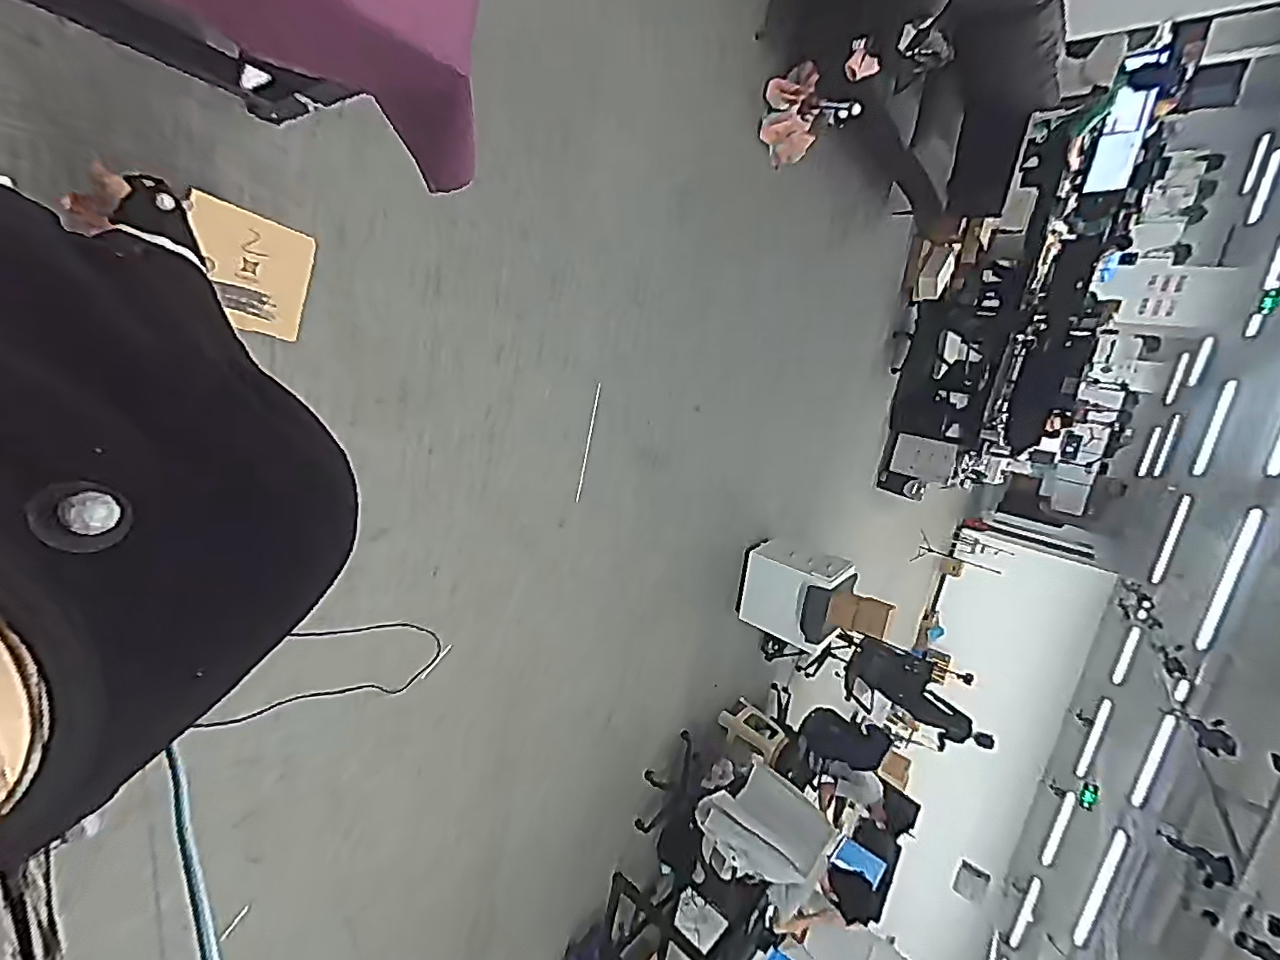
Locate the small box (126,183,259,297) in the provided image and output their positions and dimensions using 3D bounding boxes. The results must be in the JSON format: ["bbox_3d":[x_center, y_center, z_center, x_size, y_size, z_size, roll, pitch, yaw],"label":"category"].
[{"bbox_3d":[-0.893,-0.473,1.079,0.179,0.176,0.168,-3,108,-50],"label":"small box"}]
